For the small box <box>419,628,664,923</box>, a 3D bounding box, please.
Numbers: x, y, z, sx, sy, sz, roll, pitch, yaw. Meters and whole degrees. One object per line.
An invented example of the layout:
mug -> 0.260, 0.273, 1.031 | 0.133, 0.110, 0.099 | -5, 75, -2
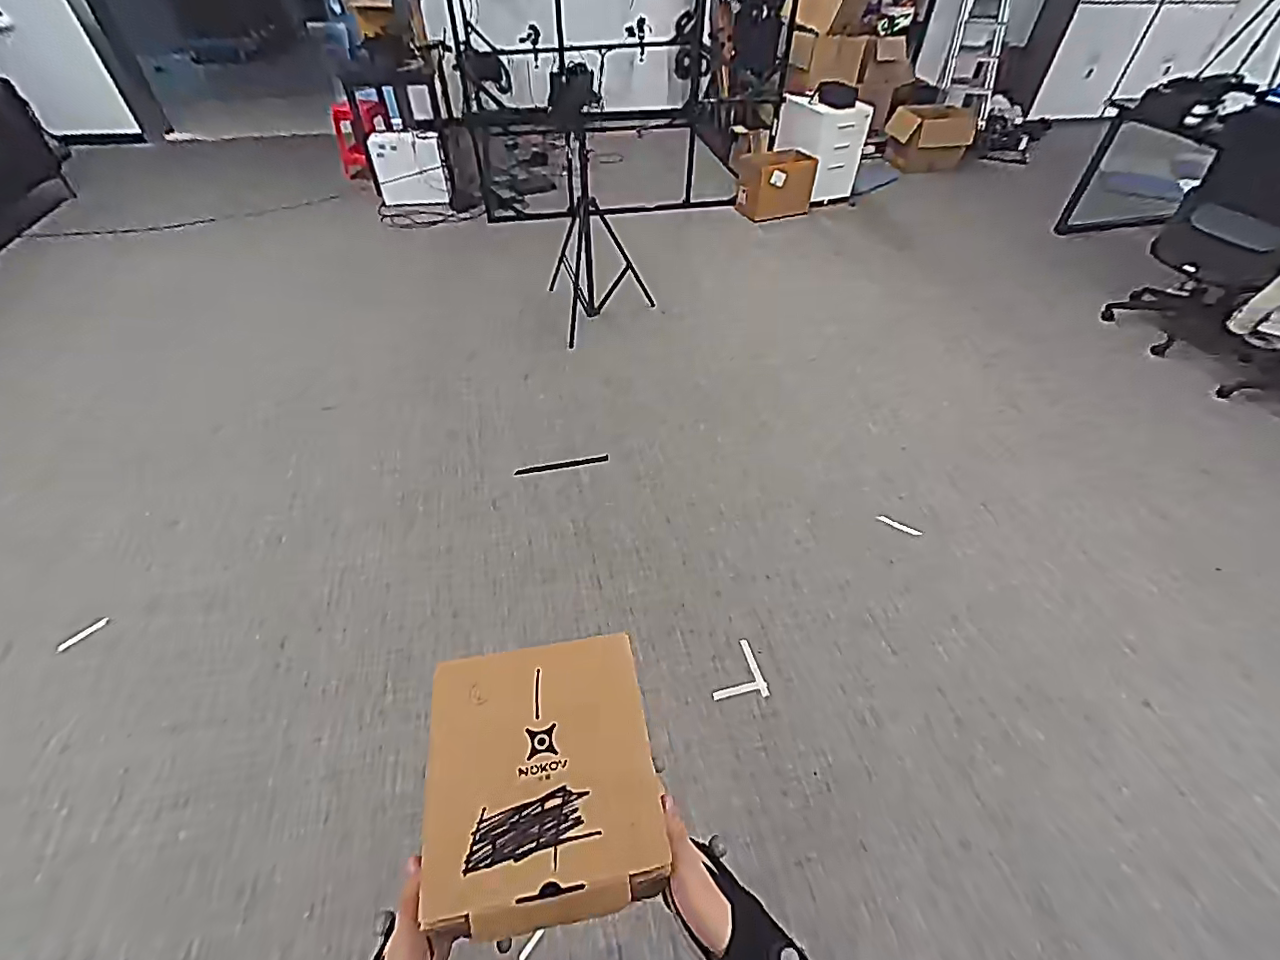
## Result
small box -> -0.077, 0.256, 0.466 | 0.168, 0.176, 0.179 | -7, 47, -8
